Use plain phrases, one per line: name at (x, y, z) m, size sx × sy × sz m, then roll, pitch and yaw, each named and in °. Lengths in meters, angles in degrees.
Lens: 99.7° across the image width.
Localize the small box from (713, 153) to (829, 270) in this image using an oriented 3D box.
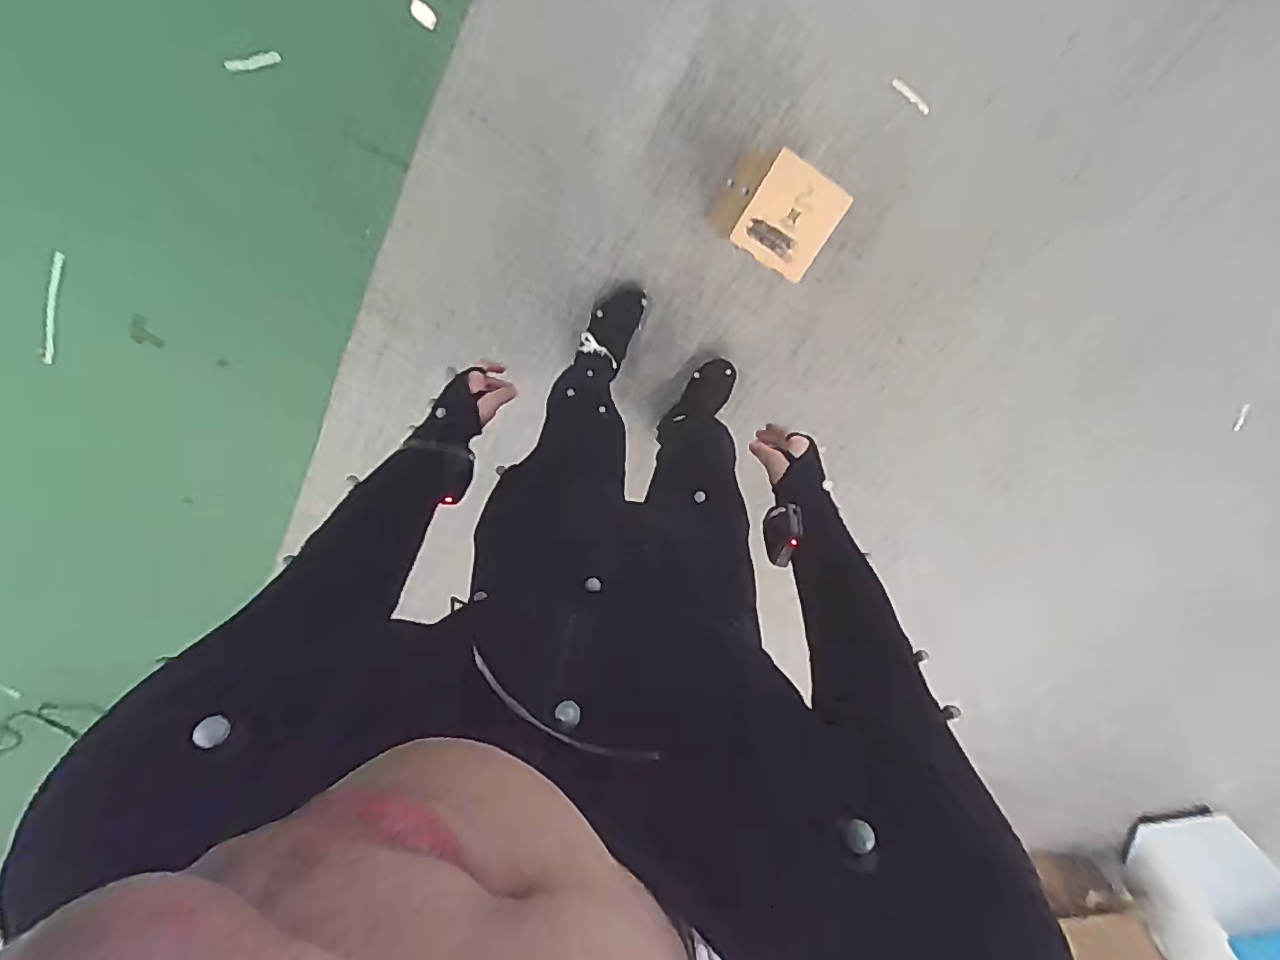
small box at (0.283, -0.601, 1.219) m, size 0.179 × 0.176 × 0.168 m, roll 27°, pitch 115°, yaw -15°
